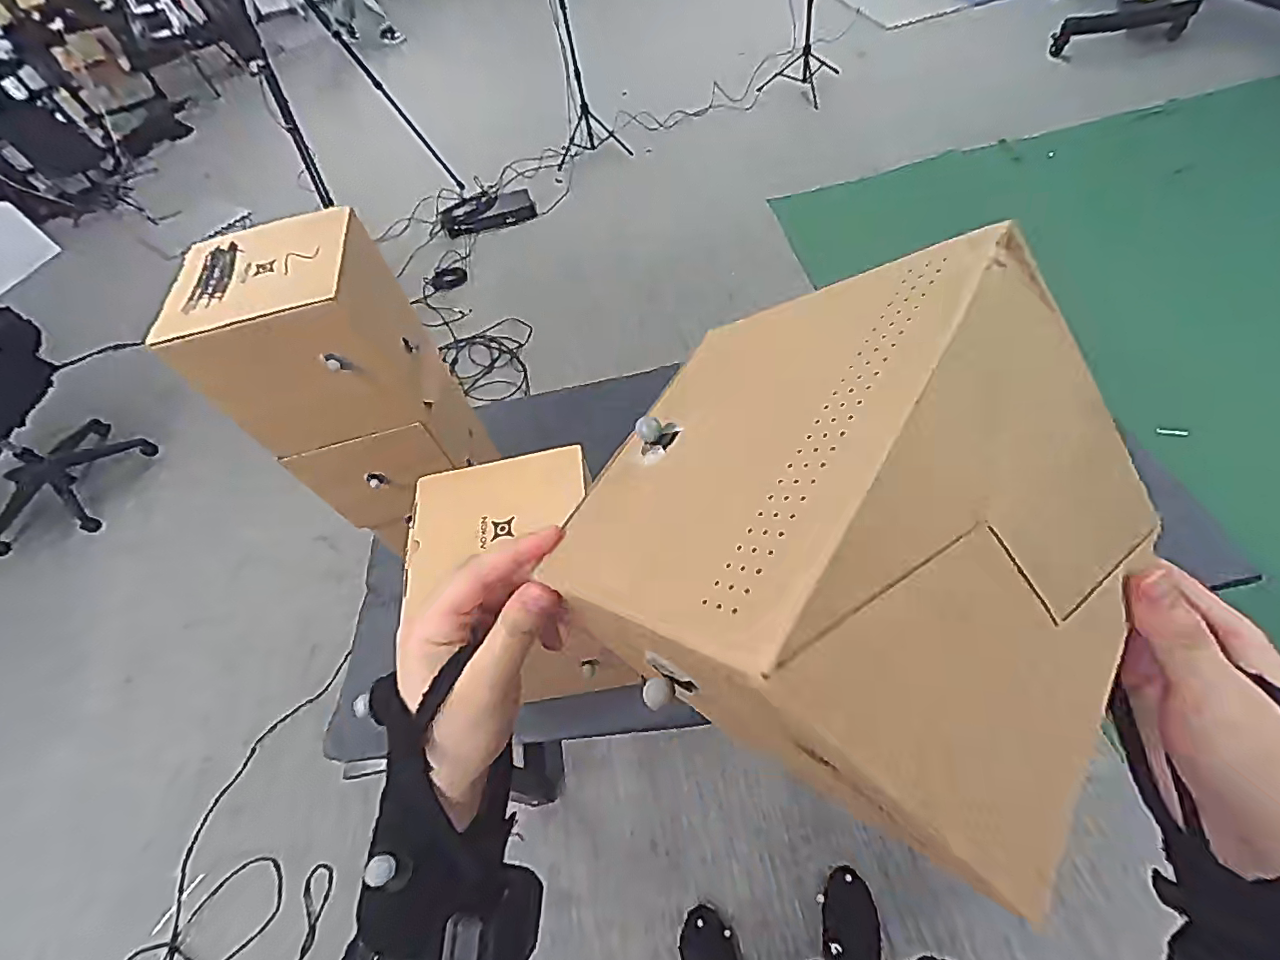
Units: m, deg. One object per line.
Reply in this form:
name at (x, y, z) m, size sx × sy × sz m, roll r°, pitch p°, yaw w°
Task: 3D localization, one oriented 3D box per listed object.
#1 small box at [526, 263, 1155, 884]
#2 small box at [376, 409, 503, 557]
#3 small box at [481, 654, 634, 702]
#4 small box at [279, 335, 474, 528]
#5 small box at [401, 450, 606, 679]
small box at (0.084, 0.035, 0.245) m, size 0.179 × 0.168 × 0.176 m, roll -53°, pitch 25°, yaw -18°
small box at (-0.310, 0.020, 0.868) m, size 0.168 × 0.176 × 0.179 m, roll -16°, pitch 54°, yaw 0°
small box at (-0.103, 0.179, 0.711) m, size 0.179 × 0.176 × 0.168 m, roll -11°, pitch 54°, yaw 4°
small box at (-0.332, -0.060, 0.724) m, size 0.179 × 0.176 × 0.168 m, roll -16°, pitch 55°, yaw 1°
small box at (-0.120, 0.096, 0.572) m, size 0.179 × 0.176 × 0.168 m, roll -12°, pitch 54°, yaw 3°
